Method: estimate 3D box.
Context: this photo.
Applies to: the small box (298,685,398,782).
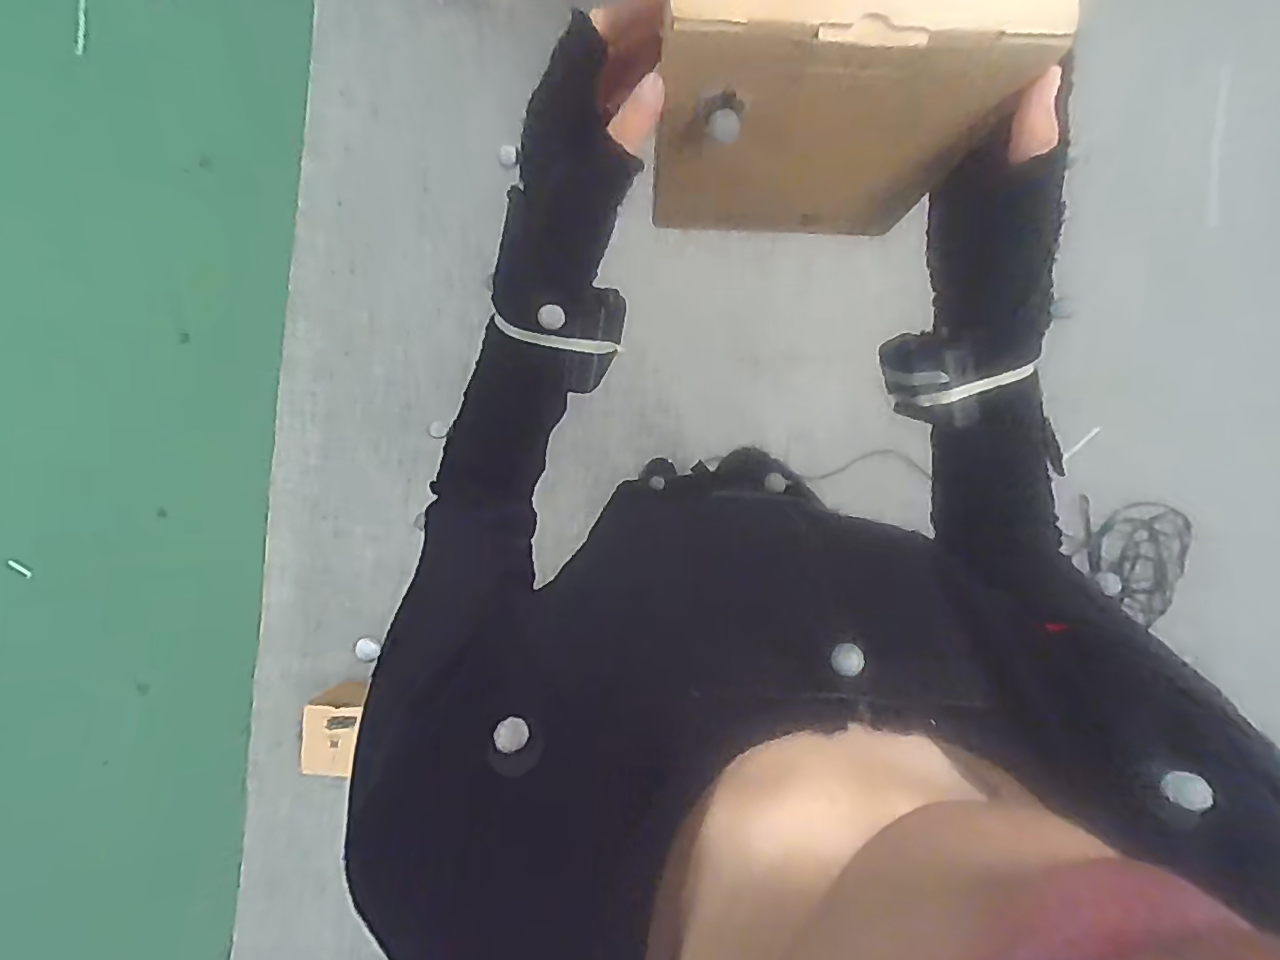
[{"bbox_3d":[-0.747,0.646,1.400,0.168,0.176,0.179,3,89,2],"label":"small box"}]
